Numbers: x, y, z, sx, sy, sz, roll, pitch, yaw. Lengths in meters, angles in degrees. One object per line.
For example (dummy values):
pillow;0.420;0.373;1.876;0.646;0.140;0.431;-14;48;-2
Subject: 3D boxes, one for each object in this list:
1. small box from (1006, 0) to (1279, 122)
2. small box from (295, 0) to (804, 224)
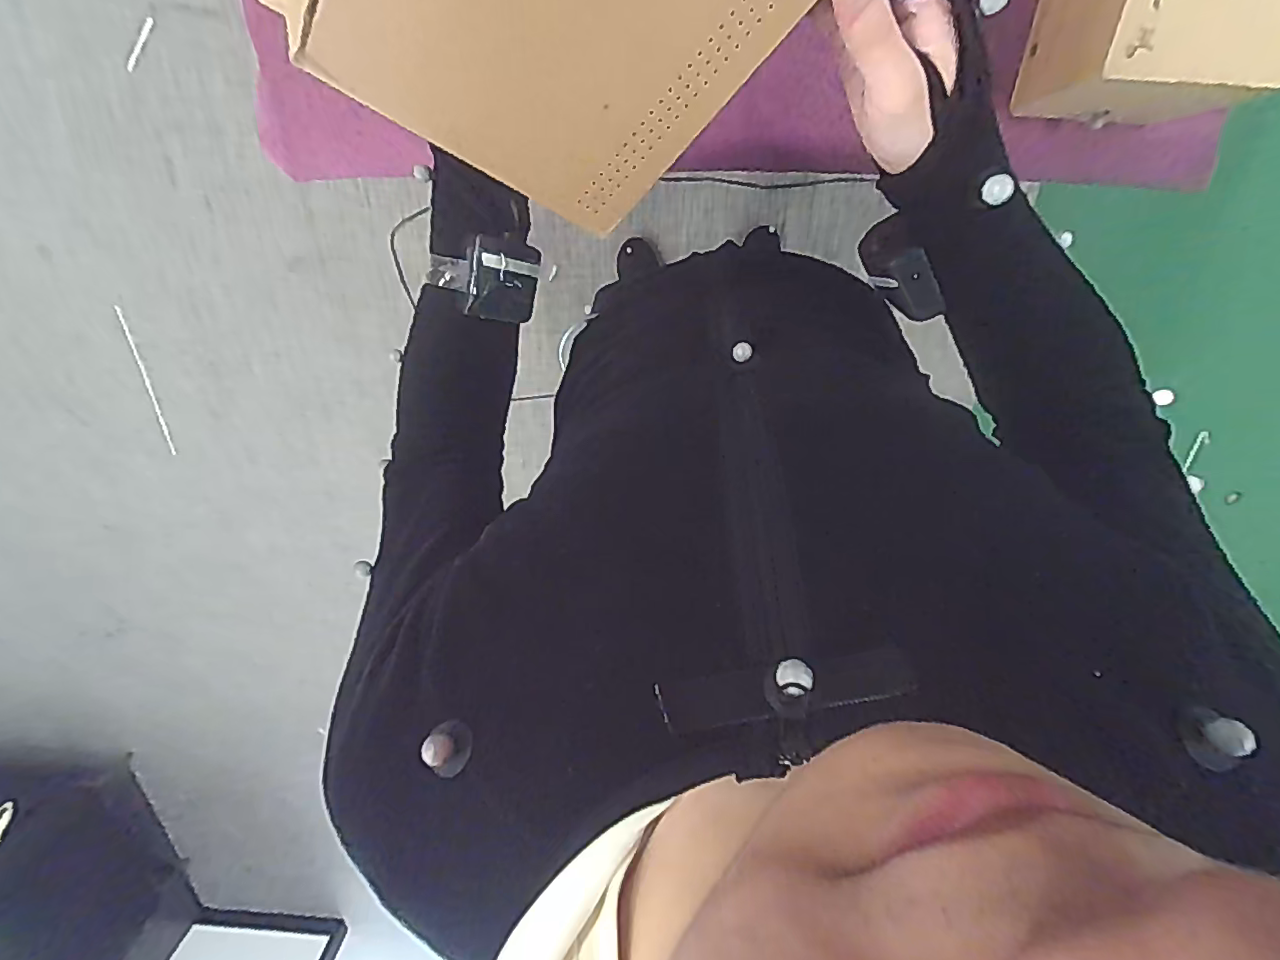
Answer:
small box;0.538;-0.489;0.564;0.179;0.176;0.168;5;113;2
small box;-0.041;-0.265;0.249;0.179;0.168;0.176;-35;153;34
